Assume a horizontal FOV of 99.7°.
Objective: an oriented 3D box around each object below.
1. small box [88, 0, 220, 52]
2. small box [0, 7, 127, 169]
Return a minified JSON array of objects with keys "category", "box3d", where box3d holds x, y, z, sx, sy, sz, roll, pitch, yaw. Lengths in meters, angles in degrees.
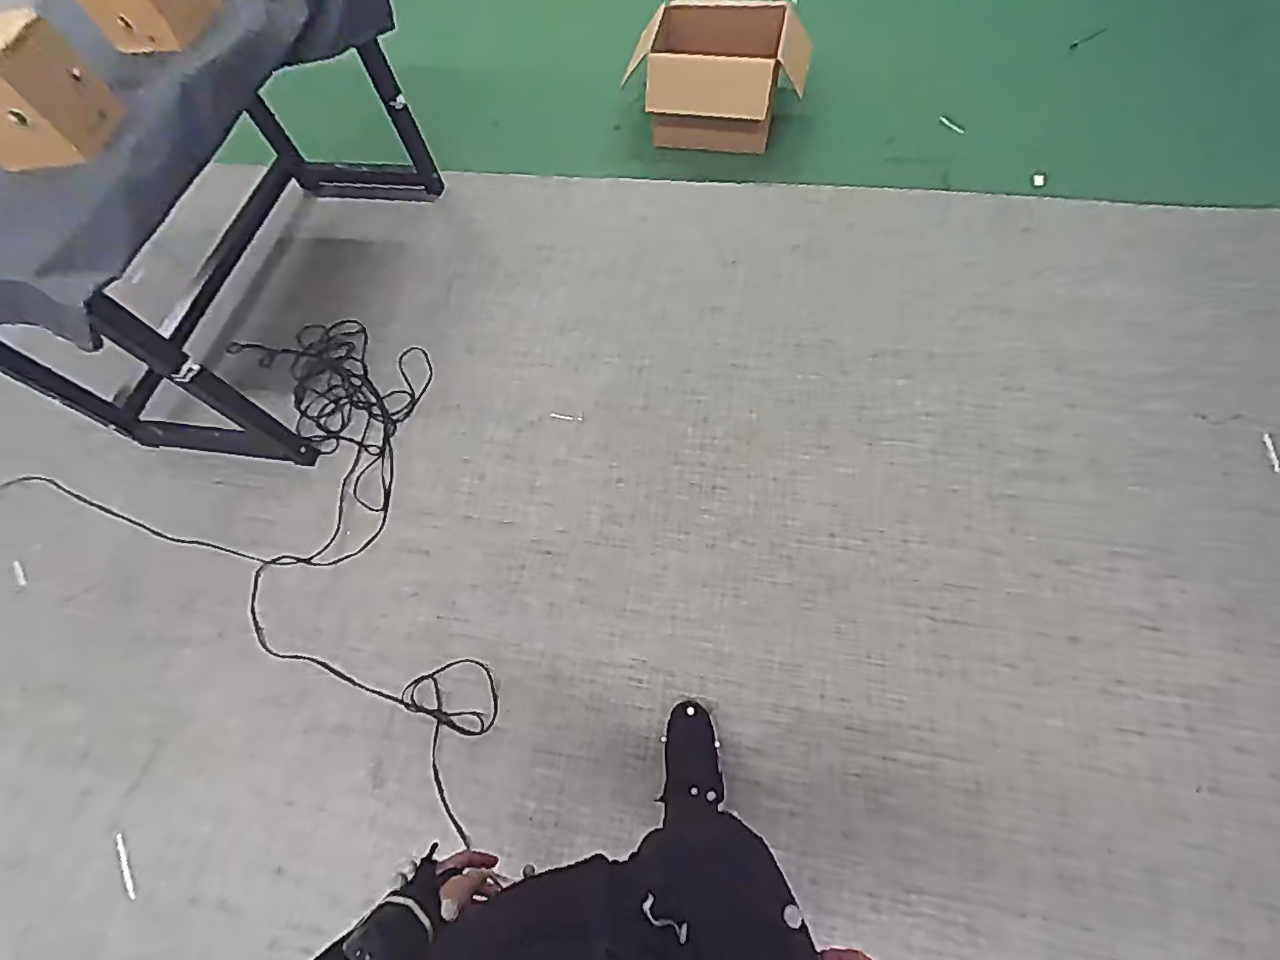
[{"category":"small box","box3d":[-1.017,-1.020,1.105,0.168,0.176,0.179,5,67,8]},{"category":"small box","box3d":[-1.081,-0.683,0.954,0.179,0.176,0.168,-3,63,5]}]
